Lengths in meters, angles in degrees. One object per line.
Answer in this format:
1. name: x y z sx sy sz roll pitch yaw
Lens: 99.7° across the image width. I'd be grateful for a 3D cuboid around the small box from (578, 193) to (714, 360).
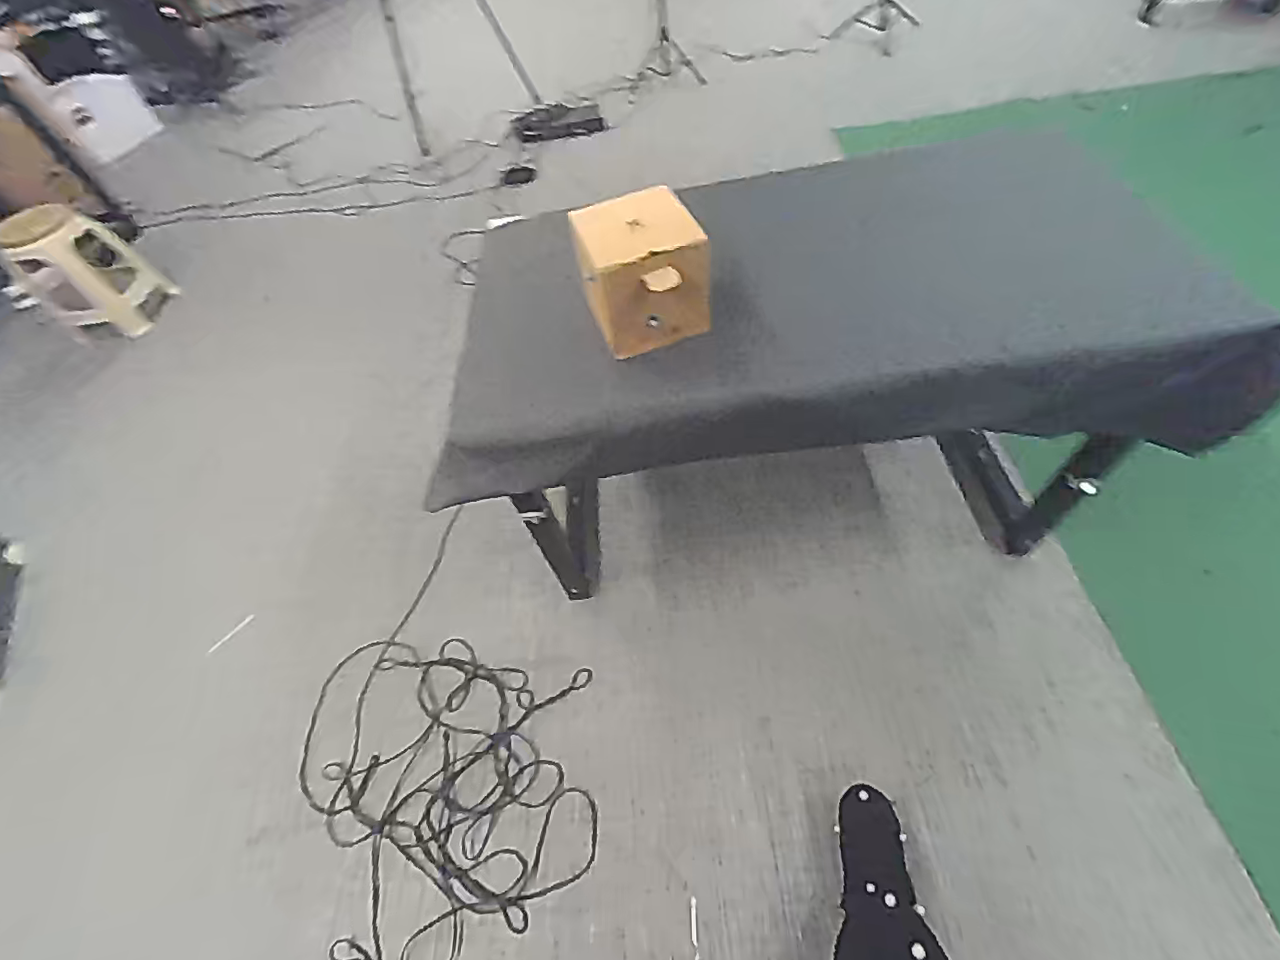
1. small box: 0.011 -0.326 0.875 0.168 0.176 0.179 -19 54 -6
